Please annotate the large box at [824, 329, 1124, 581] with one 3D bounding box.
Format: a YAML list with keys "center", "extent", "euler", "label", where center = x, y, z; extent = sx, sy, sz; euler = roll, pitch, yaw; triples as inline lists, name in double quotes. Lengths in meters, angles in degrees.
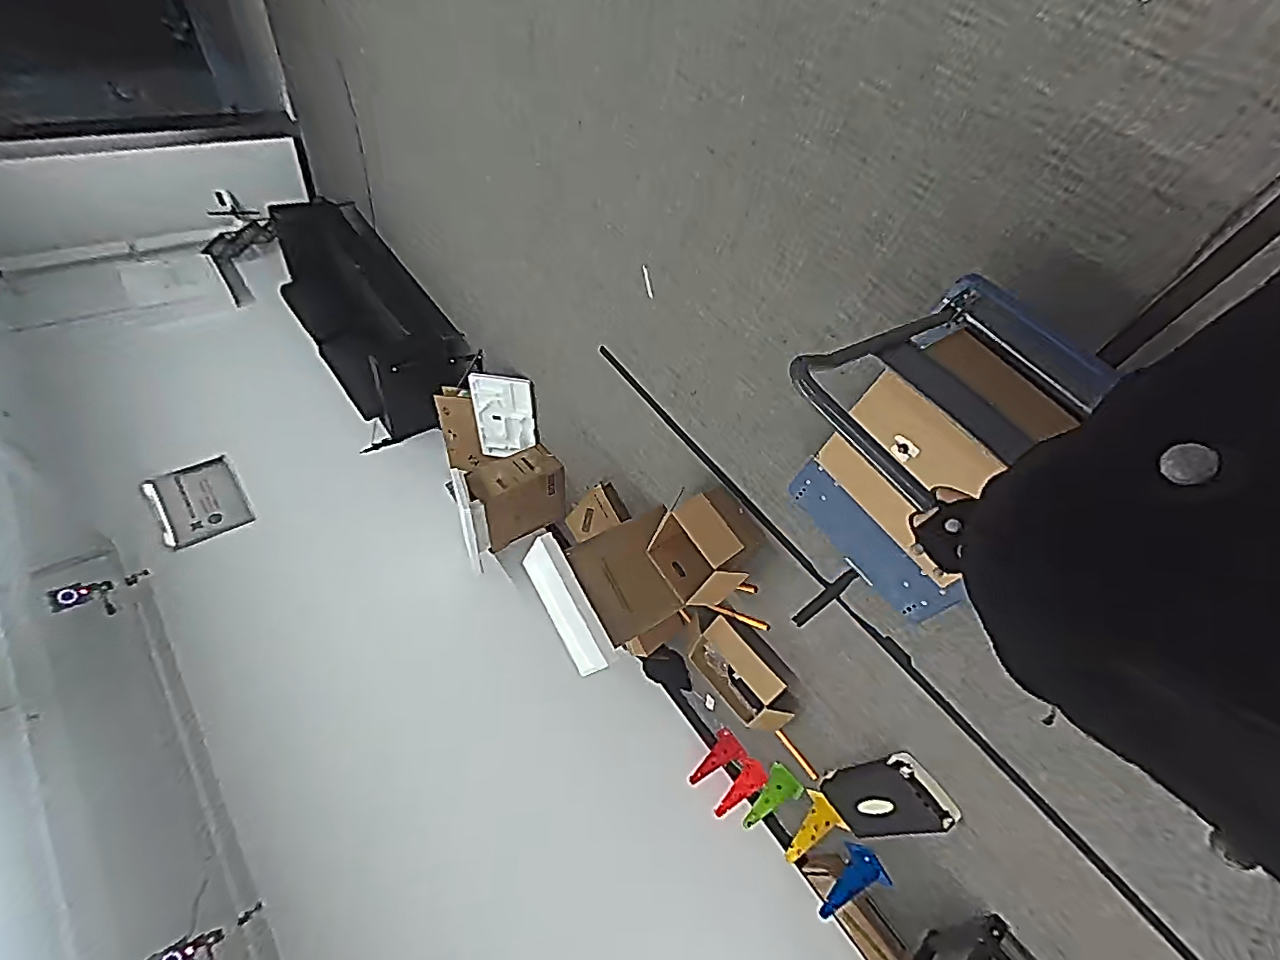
- center: [0.710, -0.062, 1.197]
  extent: [0.408, 0.320, 0.320]
  euler: [52, 148, 21]
  label: "large box"
